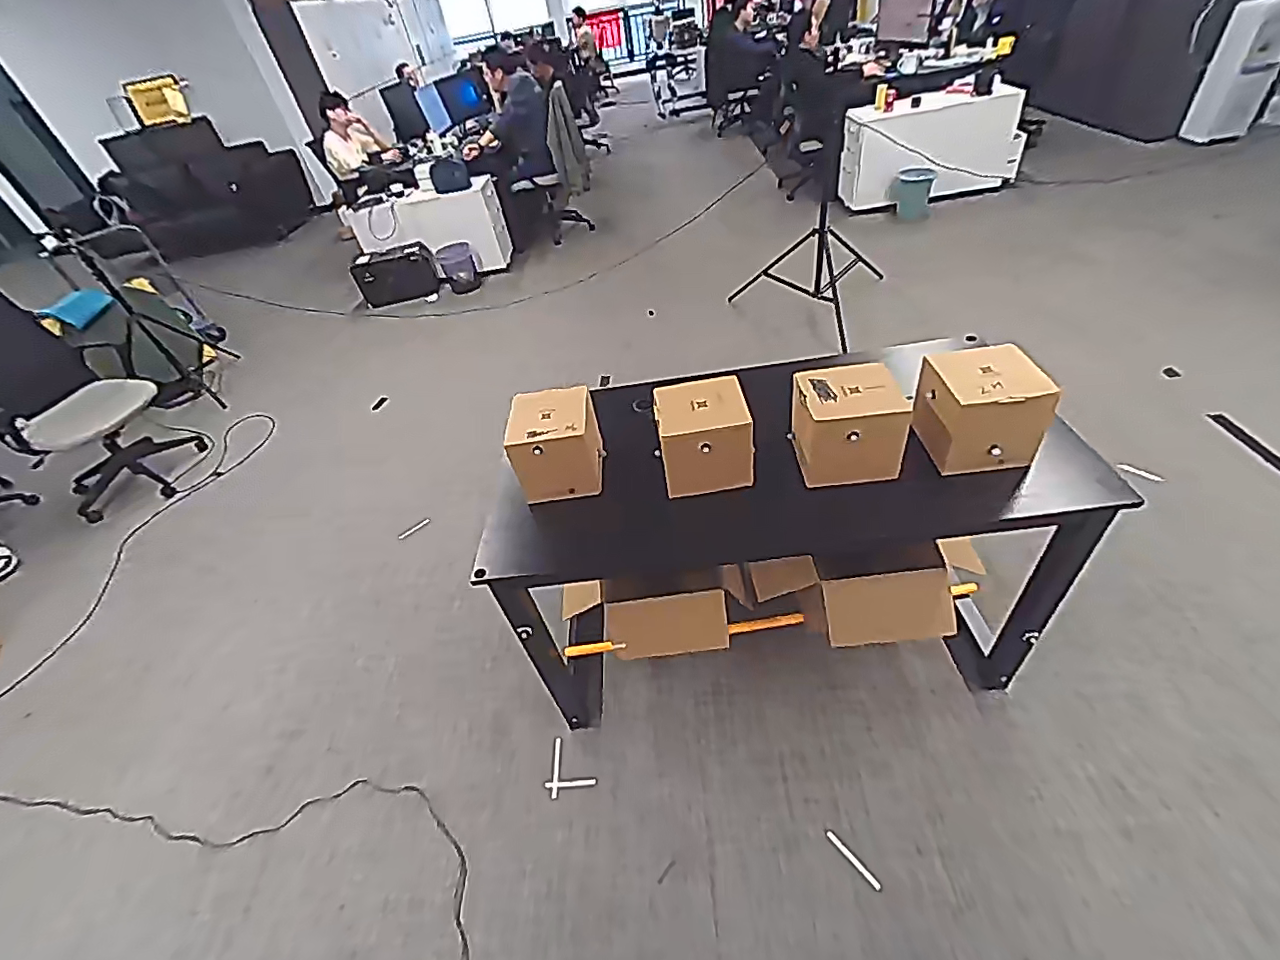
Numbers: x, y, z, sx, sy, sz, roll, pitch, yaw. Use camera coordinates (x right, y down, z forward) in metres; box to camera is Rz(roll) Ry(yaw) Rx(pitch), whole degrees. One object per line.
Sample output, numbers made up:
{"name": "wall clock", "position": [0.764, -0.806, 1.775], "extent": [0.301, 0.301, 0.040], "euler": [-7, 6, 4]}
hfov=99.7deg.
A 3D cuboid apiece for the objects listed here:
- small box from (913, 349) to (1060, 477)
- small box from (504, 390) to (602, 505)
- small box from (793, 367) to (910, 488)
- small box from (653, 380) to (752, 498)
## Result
{"name": "small box", "position": [0.646, -0.128, 1.038], "extent": [0.168, 0.176, 0.179], "euler": [-7, 42, 7]}
{"name": "small box", "position": [-0.178, -0.069, 1.165], "extent": [0.168, 0.176, 0.179], "euler": [-8, 42, 4]}
{"name": "small box", "position": [0.404, -0.099, 1.064], "extent": [0.179, 0.176, 0.168], "euler": [-6, 42, 7]}
{"name": "small box", "position": [0.128, -0.080, 1.111], "extent": [0.179, 0.176, 0.168], "euler": [-9, 43, 2]}
